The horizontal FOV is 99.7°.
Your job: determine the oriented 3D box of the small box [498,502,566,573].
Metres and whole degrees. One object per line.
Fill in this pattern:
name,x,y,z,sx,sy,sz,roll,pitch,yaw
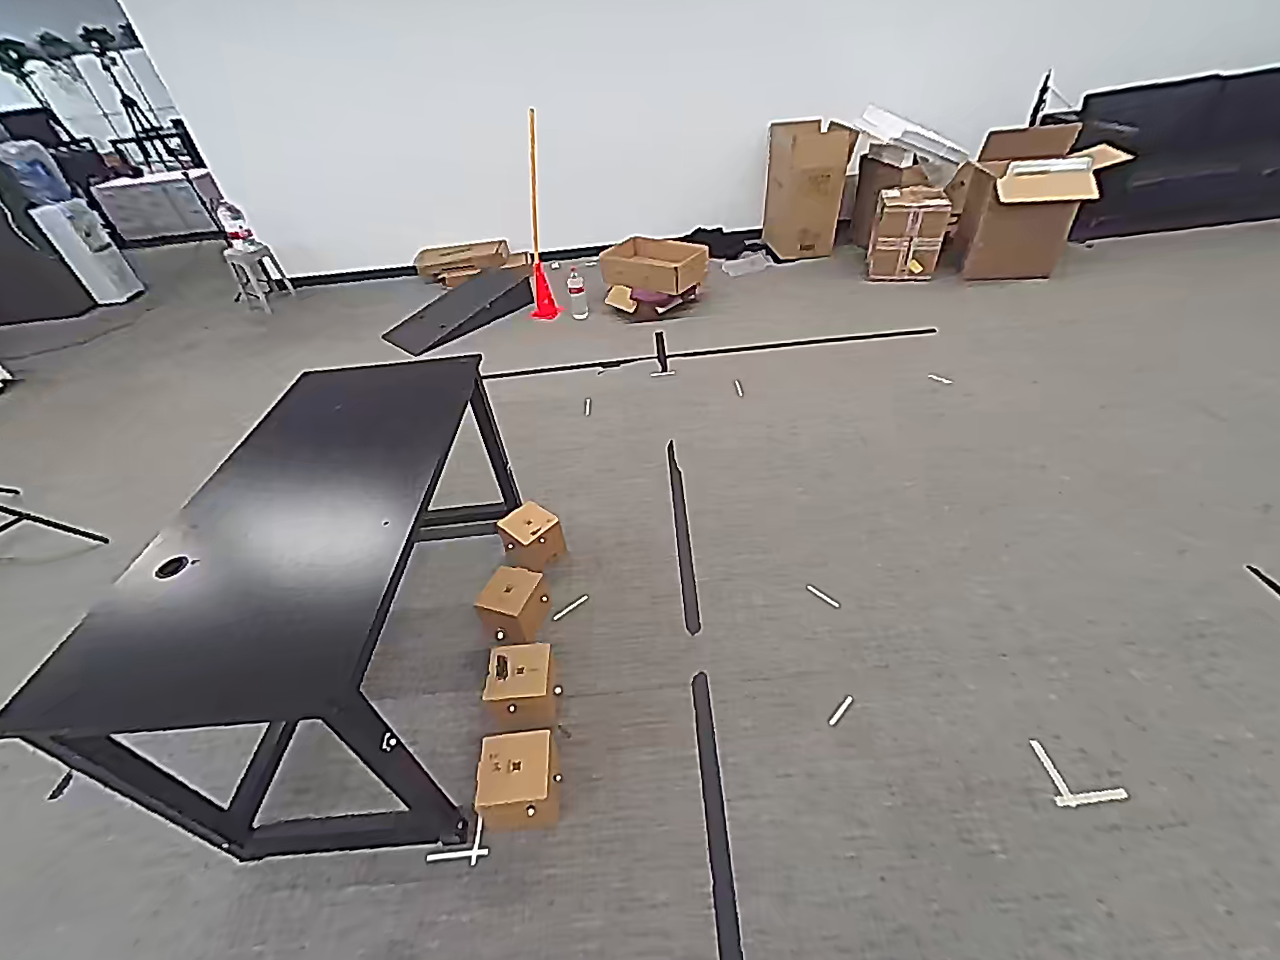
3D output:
small box,-0.403,0.219,2.035,0.179,0.176,0.168,27,51,33

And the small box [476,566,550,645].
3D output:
small box,-0.414,0.420,1.808,0.168,0.176,0.179,8,44,18

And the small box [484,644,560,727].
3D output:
small box,-0.338,0.603,1.581,0.179,0.176,0.168,-5,41,0
